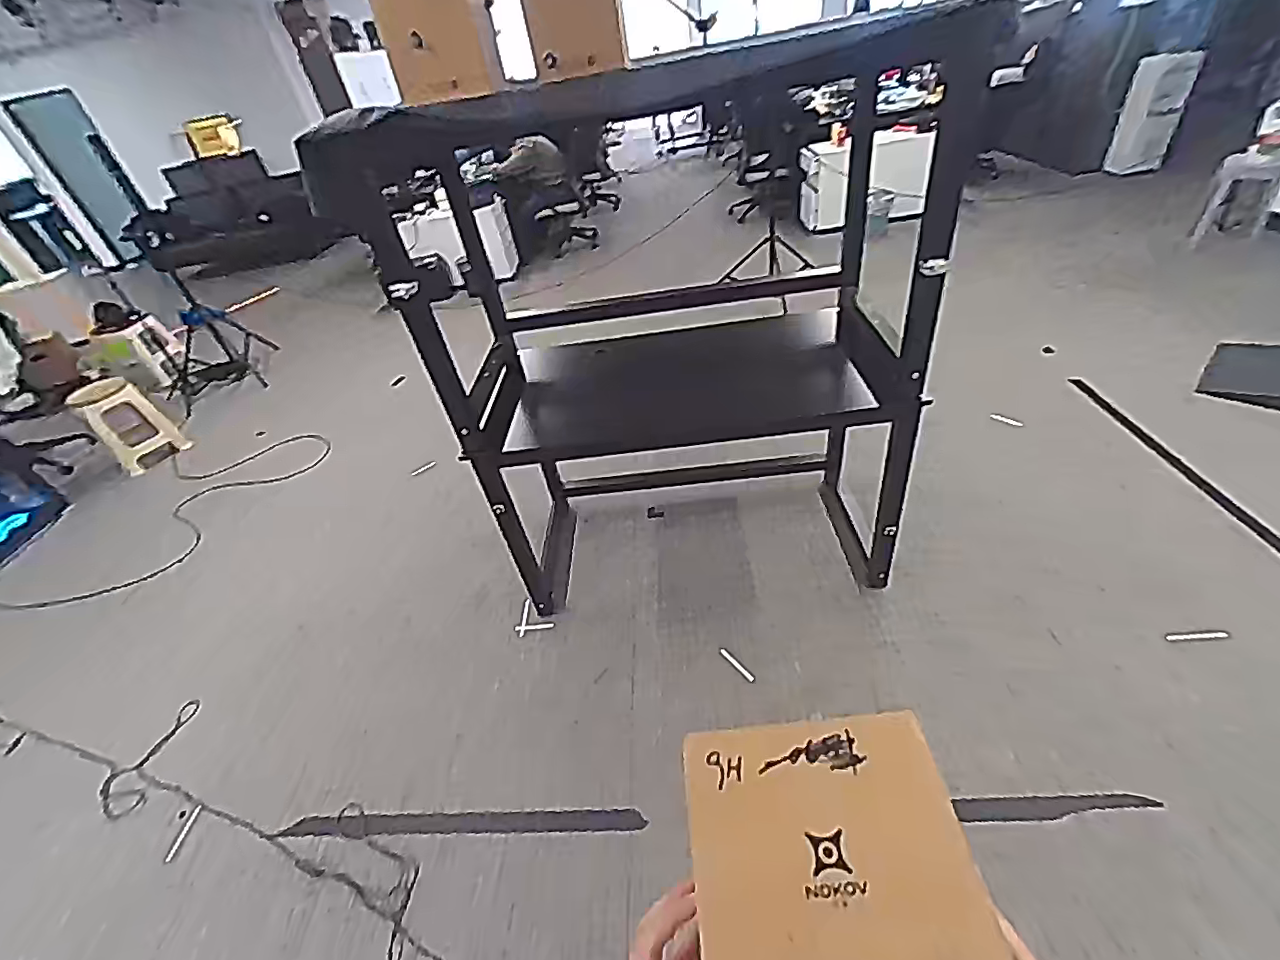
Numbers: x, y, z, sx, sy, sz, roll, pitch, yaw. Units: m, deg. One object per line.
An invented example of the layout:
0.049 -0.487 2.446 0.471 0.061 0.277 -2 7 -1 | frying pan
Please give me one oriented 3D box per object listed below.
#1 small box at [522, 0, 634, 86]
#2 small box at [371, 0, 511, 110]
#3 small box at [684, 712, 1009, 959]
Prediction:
-0.106 -0.828 0.975 0.168 0.176 0.179 -5 36 7 | small box
-0.347 -0.785 0.982 0.168 0.176 0.179 -6 37 5 | small box
0.127 0.287 0.379 0.168 0.176 0.179 -8 45 5 | small box
